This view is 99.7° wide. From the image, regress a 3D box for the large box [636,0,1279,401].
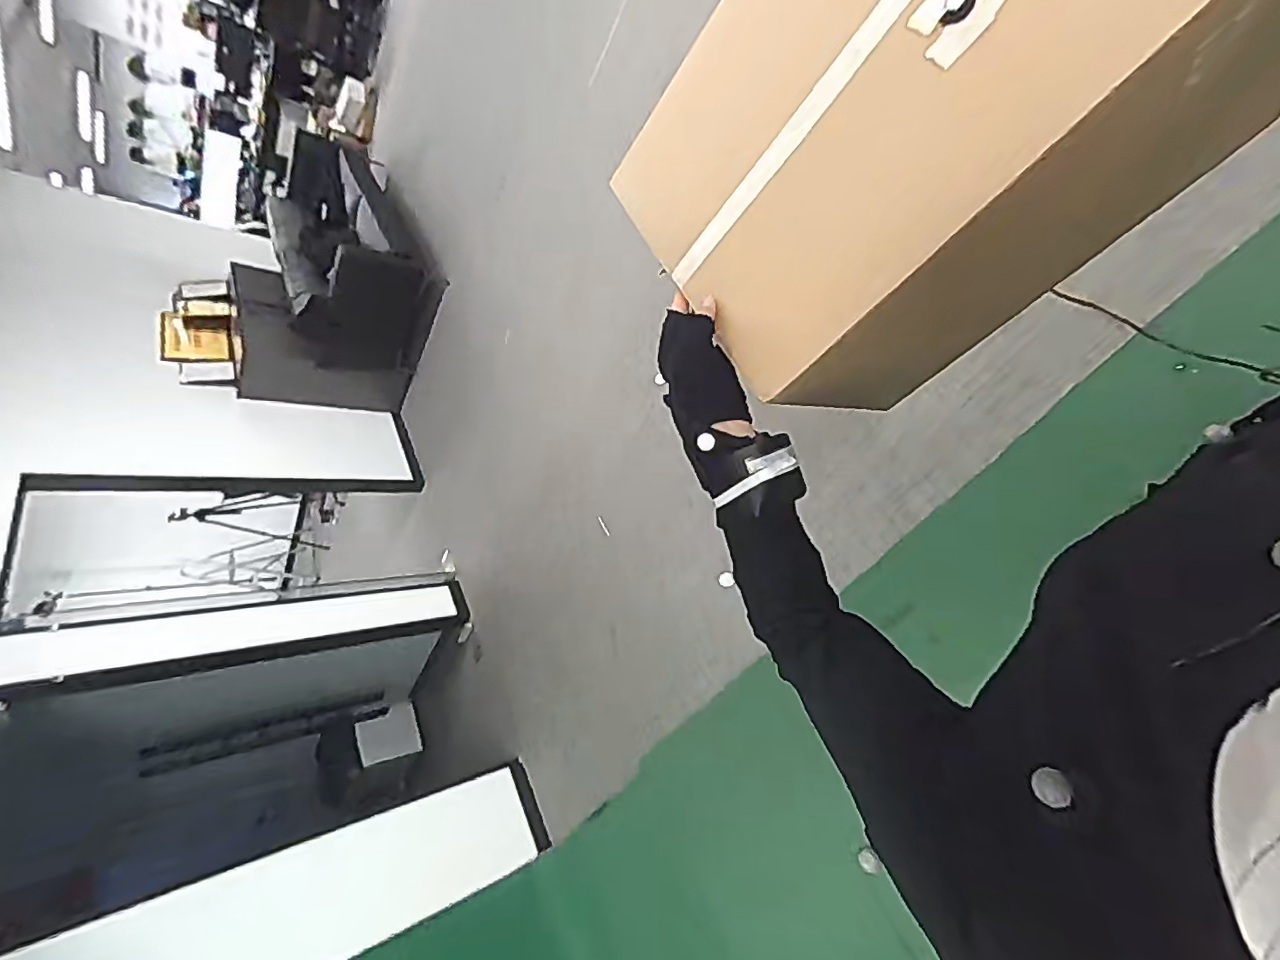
[{"bbox_3d":[0.274,-0.327,0.529,0.408,0.320,0.320,-45,65,36],"label":"large box"}]
